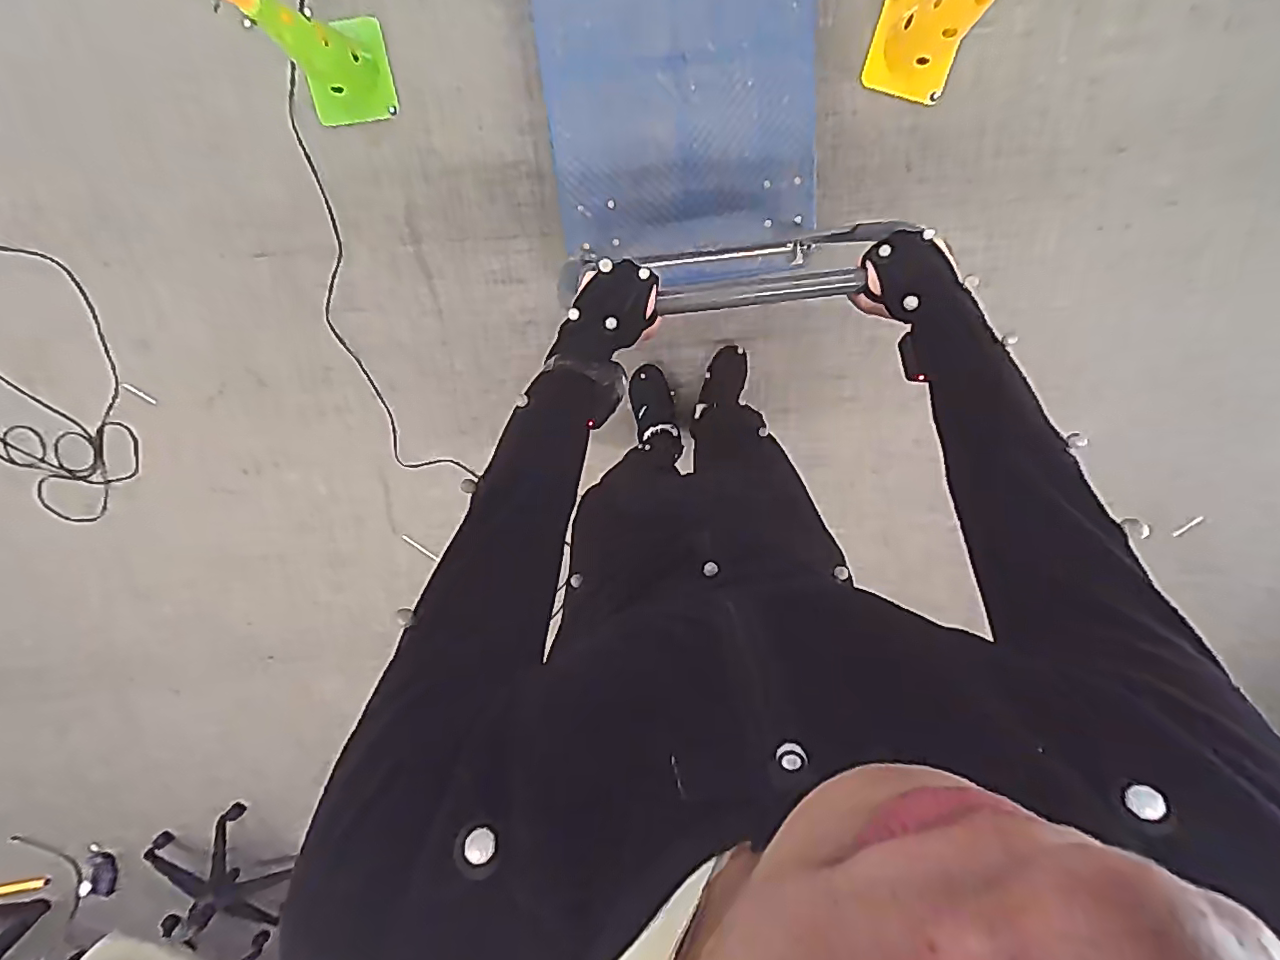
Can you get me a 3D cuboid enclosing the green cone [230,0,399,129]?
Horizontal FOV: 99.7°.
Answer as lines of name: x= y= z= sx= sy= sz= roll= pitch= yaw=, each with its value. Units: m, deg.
green cone: x=-0.691 y=-0.901 z=1.117 sx=0.202 sy=0.368 sz=0.200 roll=-6 pitch=109 yaw=4
